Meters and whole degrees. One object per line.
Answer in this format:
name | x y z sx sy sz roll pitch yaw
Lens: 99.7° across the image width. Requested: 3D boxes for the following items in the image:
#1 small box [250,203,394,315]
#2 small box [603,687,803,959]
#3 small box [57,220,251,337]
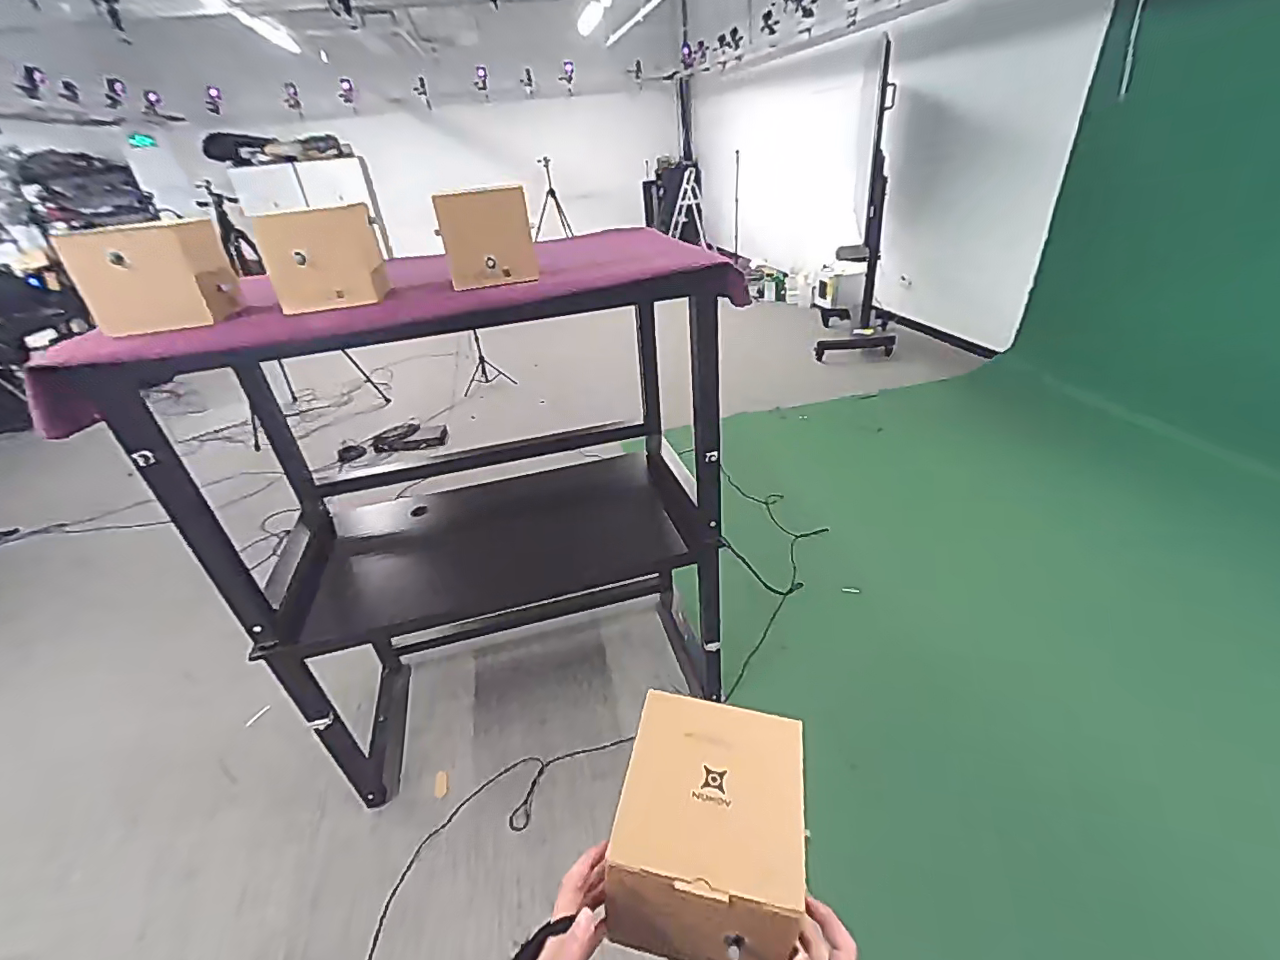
small box | -0.587 -0.418 1.027 0.168 0.176 0.179 -12 30 -9
small box | 0.068 0.349 0.547 0.168 0.176 0.179 8 32 11
small box | -0.862 -0.367 0.983 0.179 0.176 0.168 -11 31 -10
